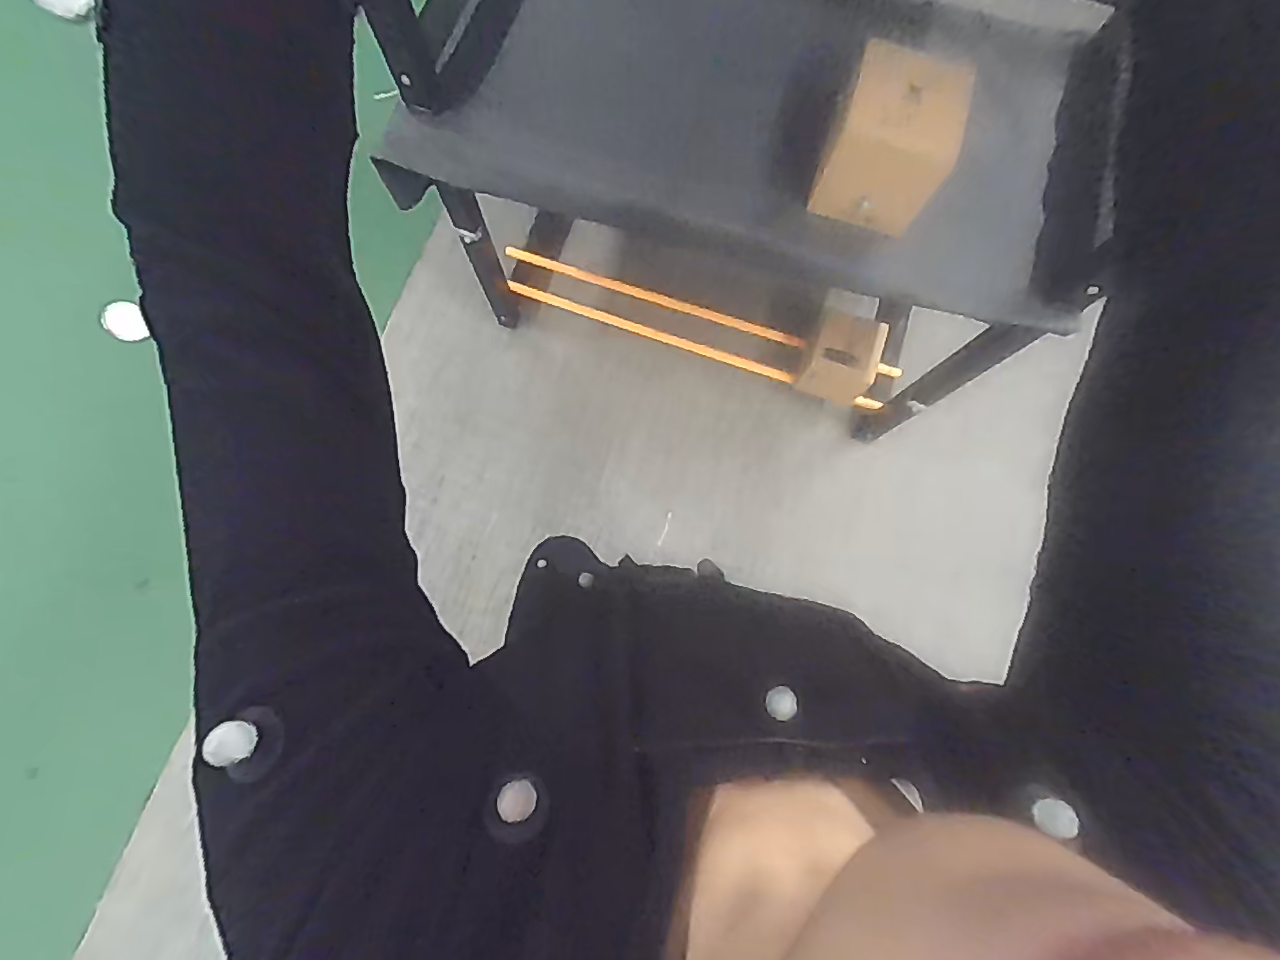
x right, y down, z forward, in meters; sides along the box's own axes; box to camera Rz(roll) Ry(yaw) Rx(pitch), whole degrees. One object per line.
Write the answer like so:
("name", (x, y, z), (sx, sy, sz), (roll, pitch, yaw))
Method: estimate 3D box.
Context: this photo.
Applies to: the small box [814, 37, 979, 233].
("small box", (0.393, -0.533, 0.853), (0.168, 0.176, 0.179), (17, 76, 3))
